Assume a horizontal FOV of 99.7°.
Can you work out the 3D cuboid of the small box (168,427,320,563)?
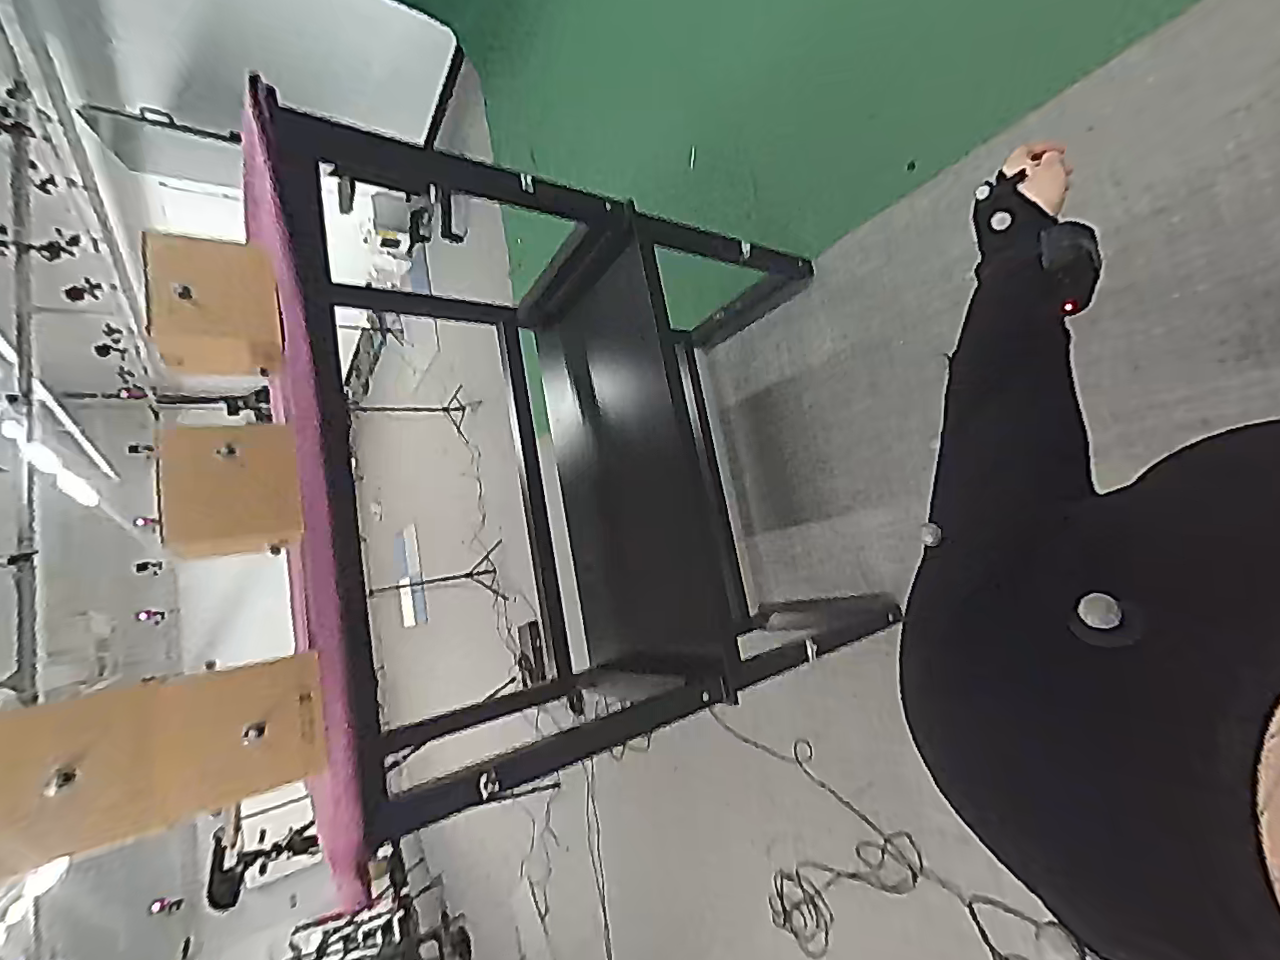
[{"bbox_3d":[-0.619,0.022,0.854,0.168,0.176,0.179,-26,75,53],"label":"small box"}]

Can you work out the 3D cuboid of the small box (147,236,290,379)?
[{"bbox_3d":[-0.703,-0.282,0.921,0.168,0.176,0.179,-22,77,55],"label":"small box"}]

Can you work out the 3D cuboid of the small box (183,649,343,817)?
[{"bbox_3d":[-0.533,0.345,0.776,0.179,0.176,0.168,-27,72,52],"label":"small box"}]
